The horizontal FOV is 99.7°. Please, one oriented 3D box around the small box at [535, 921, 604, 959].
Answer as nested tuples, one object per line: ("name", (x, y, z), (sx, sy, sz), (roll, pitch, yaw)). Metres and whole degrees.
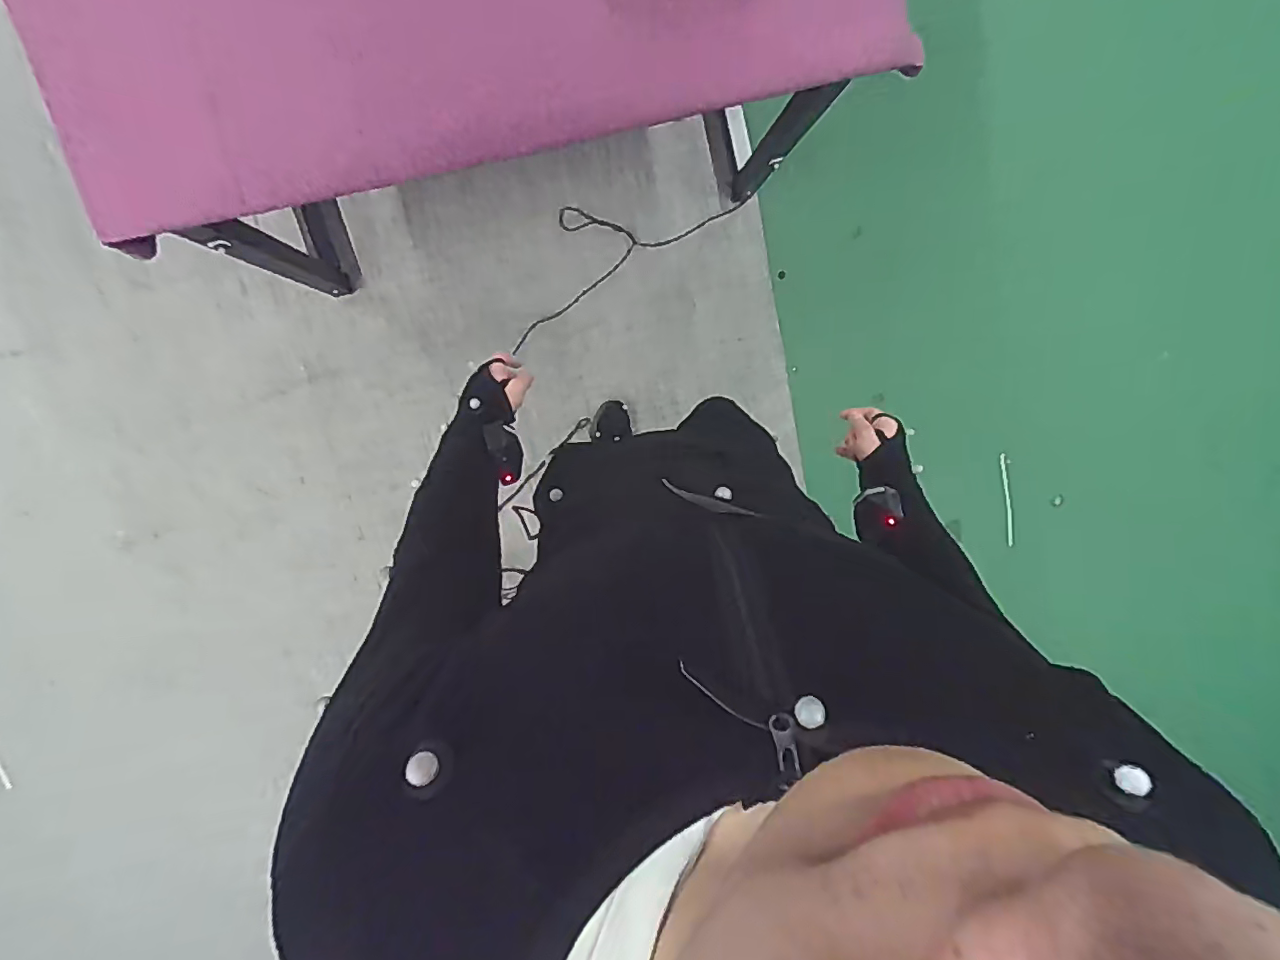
("small box", (-0.204, 1.428, 1.562), (0.168, 0.176, 0.179), (-19, 100, -1))
